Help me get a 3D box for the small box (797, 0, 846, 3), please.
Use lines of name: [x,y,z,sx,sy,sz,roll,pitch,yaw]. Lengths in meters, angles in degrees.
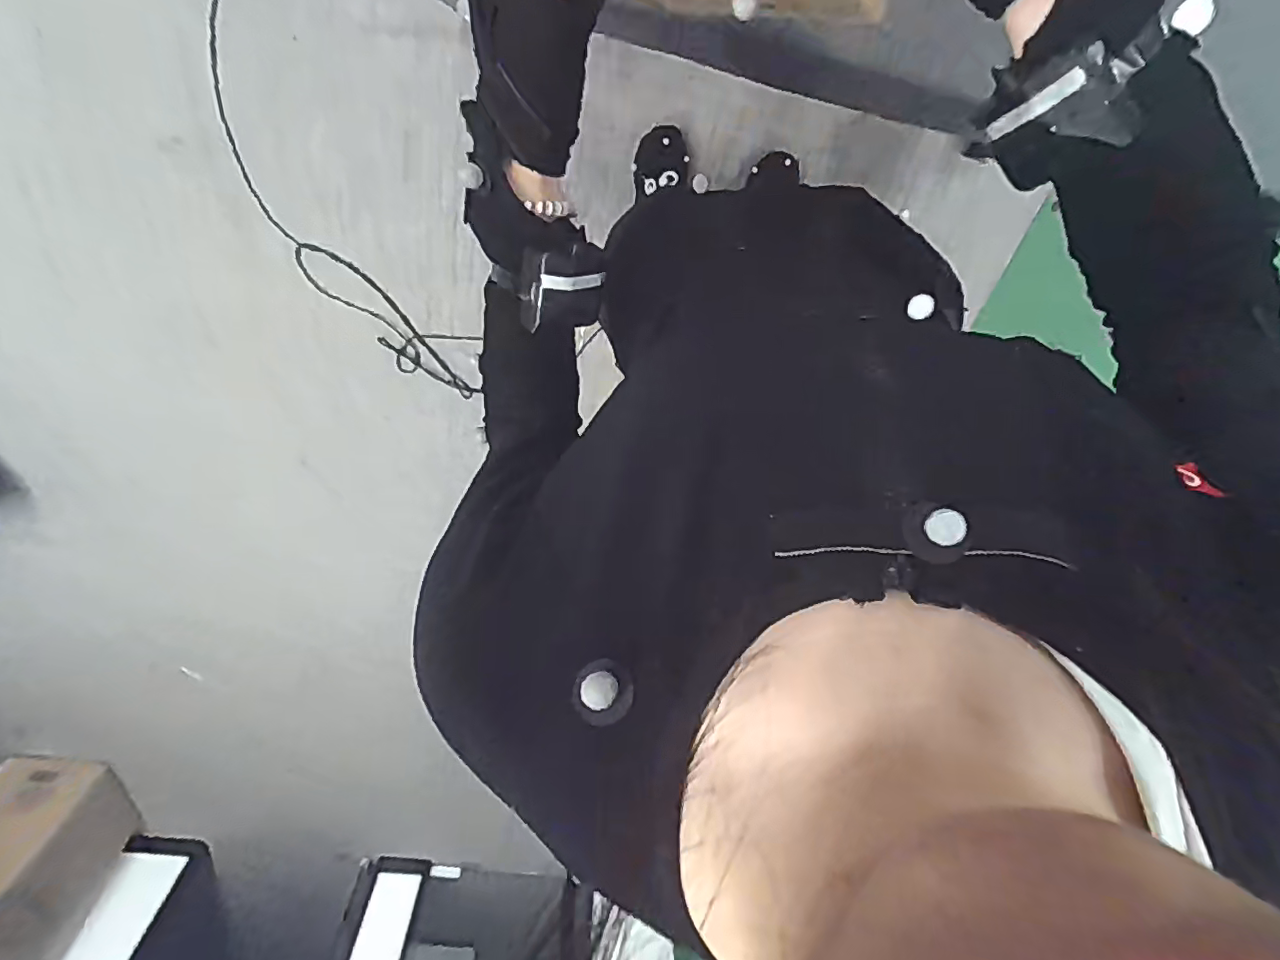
small box: [0.031,-0.328,0.220,0.168,0.176,0.179,25,126,21]
